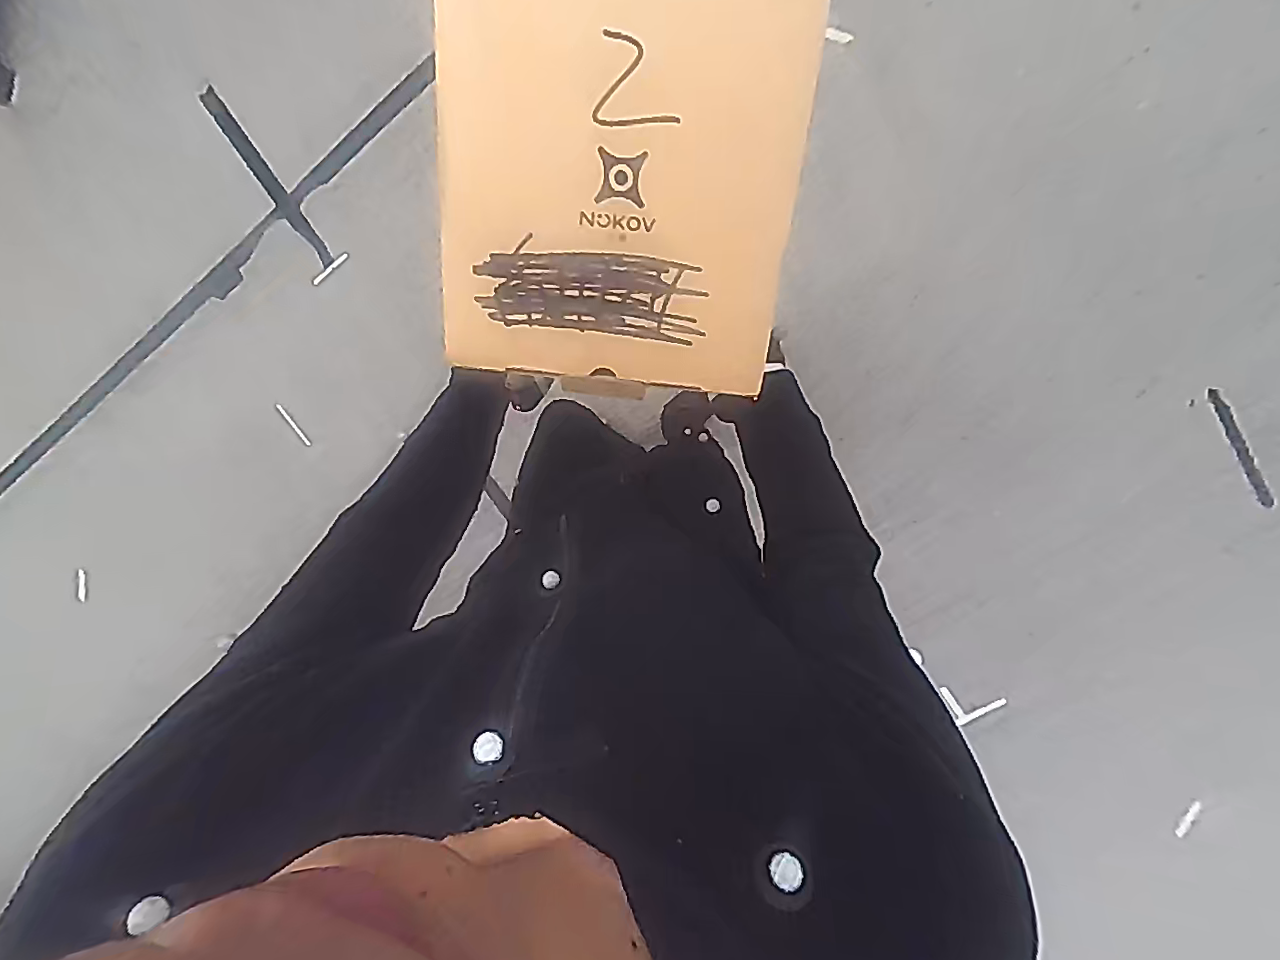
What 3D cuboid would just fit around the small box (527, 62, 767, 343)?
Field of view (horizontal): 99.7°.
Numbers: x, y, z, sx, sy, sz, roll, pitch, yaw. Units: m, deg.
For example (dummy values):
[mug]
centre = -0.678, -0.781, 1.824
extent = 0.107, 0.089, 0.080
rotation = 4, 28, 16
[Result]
[small box]
centre = 0.000, -0.226, 0.474
extent = 0.168, 0.176, 0.179
rotation = 5, 112, -1
